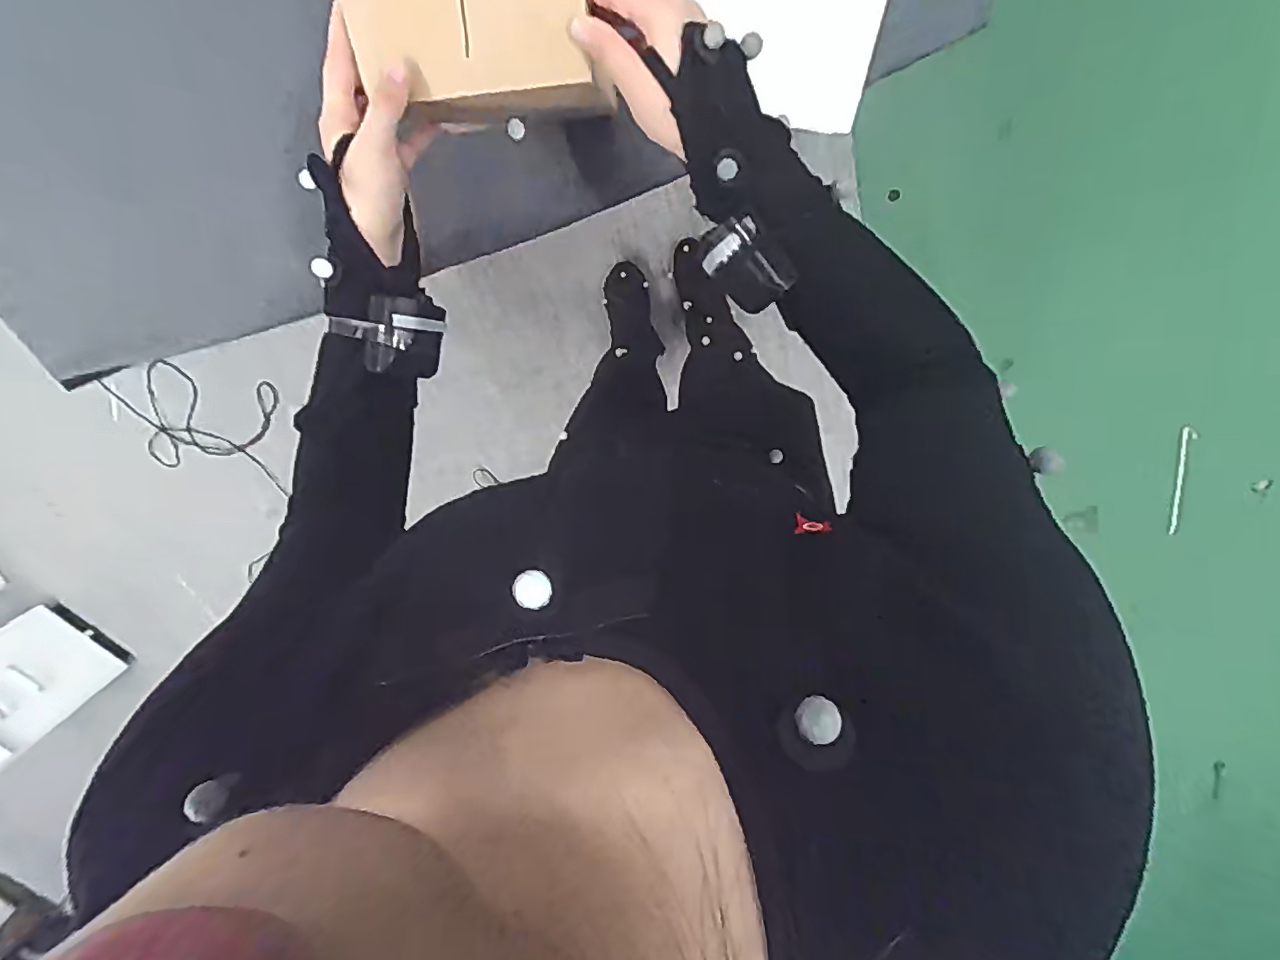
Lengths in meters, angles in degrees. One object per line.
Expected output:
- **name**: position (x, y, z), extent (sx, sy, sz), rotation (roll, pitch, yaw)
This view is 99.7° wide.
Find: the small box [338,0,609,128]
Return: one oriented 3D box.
- **small box**: position (-0.120, -0.390, 0.416), extent (0.168, 0.176, 0.179), rotation (-3, 119, 6)
